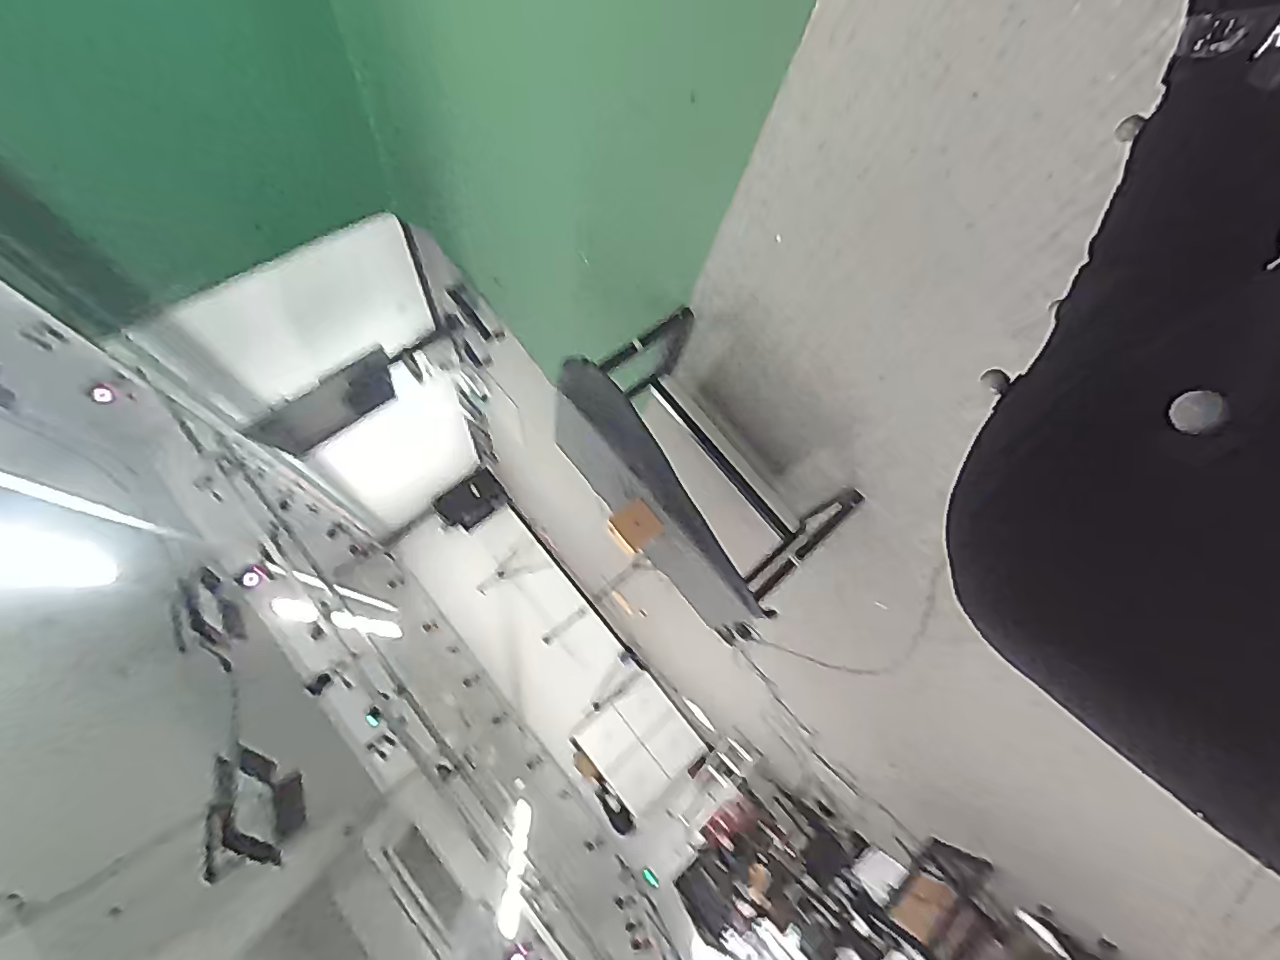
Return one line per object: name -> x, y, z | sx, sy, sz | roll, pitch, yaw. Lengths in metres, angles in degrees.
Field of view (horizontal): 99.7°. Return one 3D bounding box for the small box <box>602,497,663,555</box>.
small box -> -0.033, 0.189, 2.272 | 0.179, 0.176, 0.168 | 49, 161, 5
